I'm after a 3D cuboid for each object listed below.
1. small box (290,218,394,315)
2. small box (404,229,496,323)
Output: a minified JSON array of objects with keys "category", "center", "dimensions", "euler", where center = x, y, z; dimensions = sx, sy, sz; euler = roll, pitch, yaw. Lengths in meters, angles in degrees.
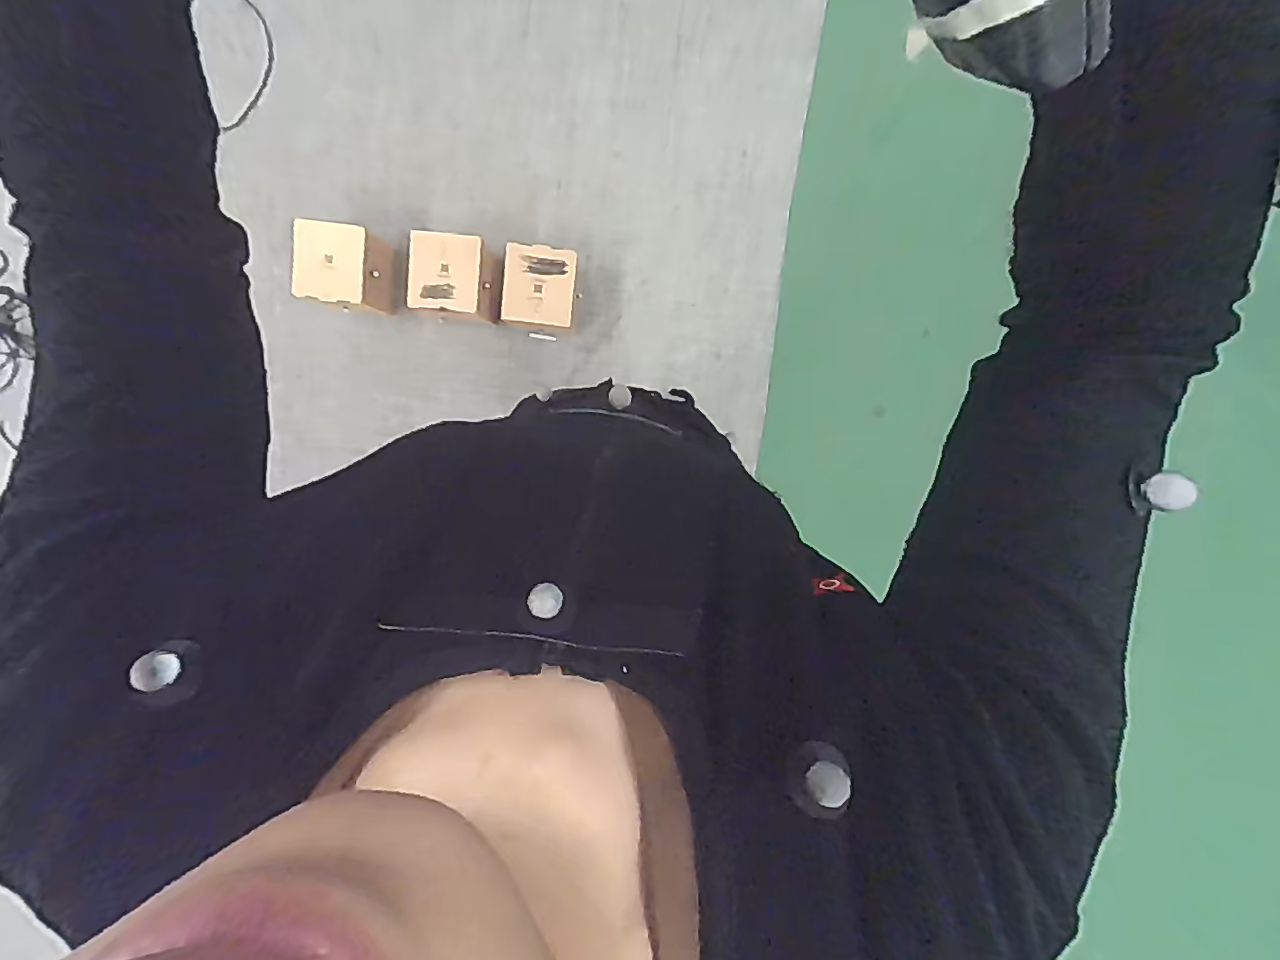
[{"category":"small box","center":[-0.725,-0.517,1.331],"dimensions":[0.168,0.176,0.179],"euler":[6,97,0]},{"category":"small box","center":[-0.460,-0.493,1.329],"dimensions":[0.168,0.176,0.179],"euler":[6,96,1]}]
